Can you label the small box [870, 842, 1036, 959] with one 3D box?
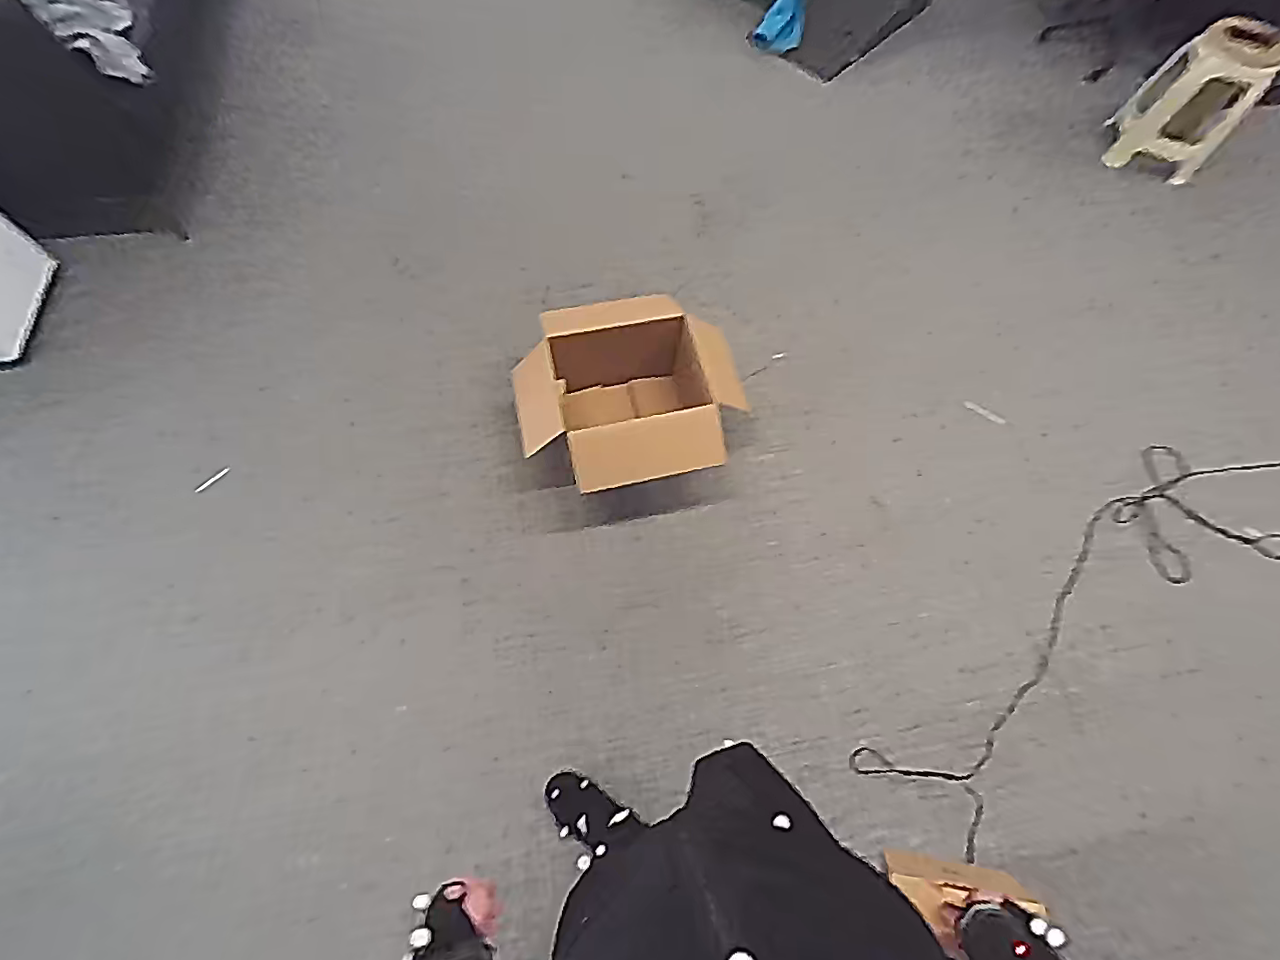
[{"bbox_3d":[0.393,0.597,0.694,0.168,0.179,0.176,3,67,19],"label":"small box"}]
